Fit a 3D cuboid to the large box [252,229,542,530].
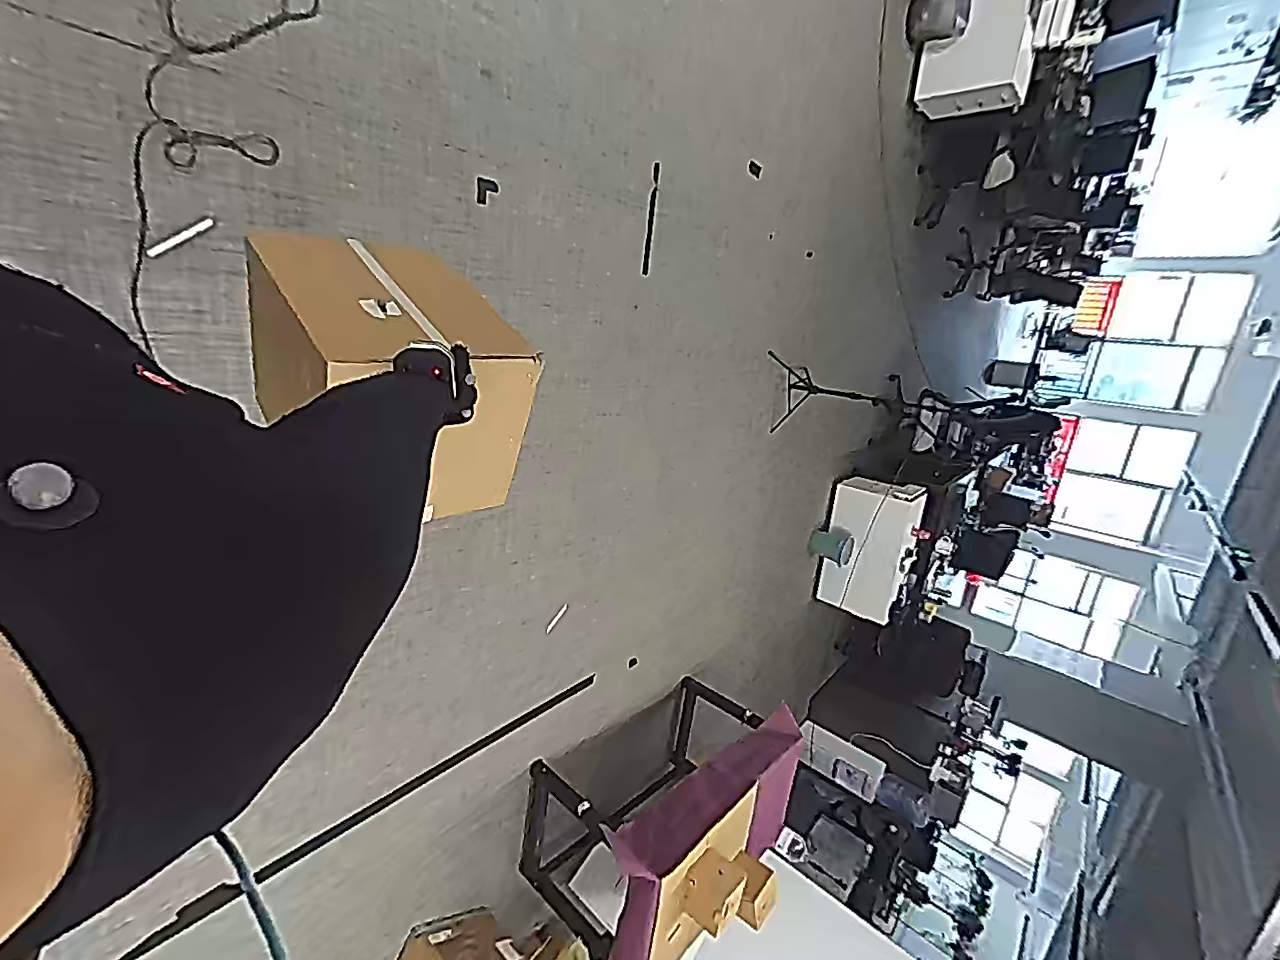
[{"bbox_3d":[-0.438,-0.180,0.944,0.320,0.408,0.320,-14,140,-42],"label":"large box"}]
